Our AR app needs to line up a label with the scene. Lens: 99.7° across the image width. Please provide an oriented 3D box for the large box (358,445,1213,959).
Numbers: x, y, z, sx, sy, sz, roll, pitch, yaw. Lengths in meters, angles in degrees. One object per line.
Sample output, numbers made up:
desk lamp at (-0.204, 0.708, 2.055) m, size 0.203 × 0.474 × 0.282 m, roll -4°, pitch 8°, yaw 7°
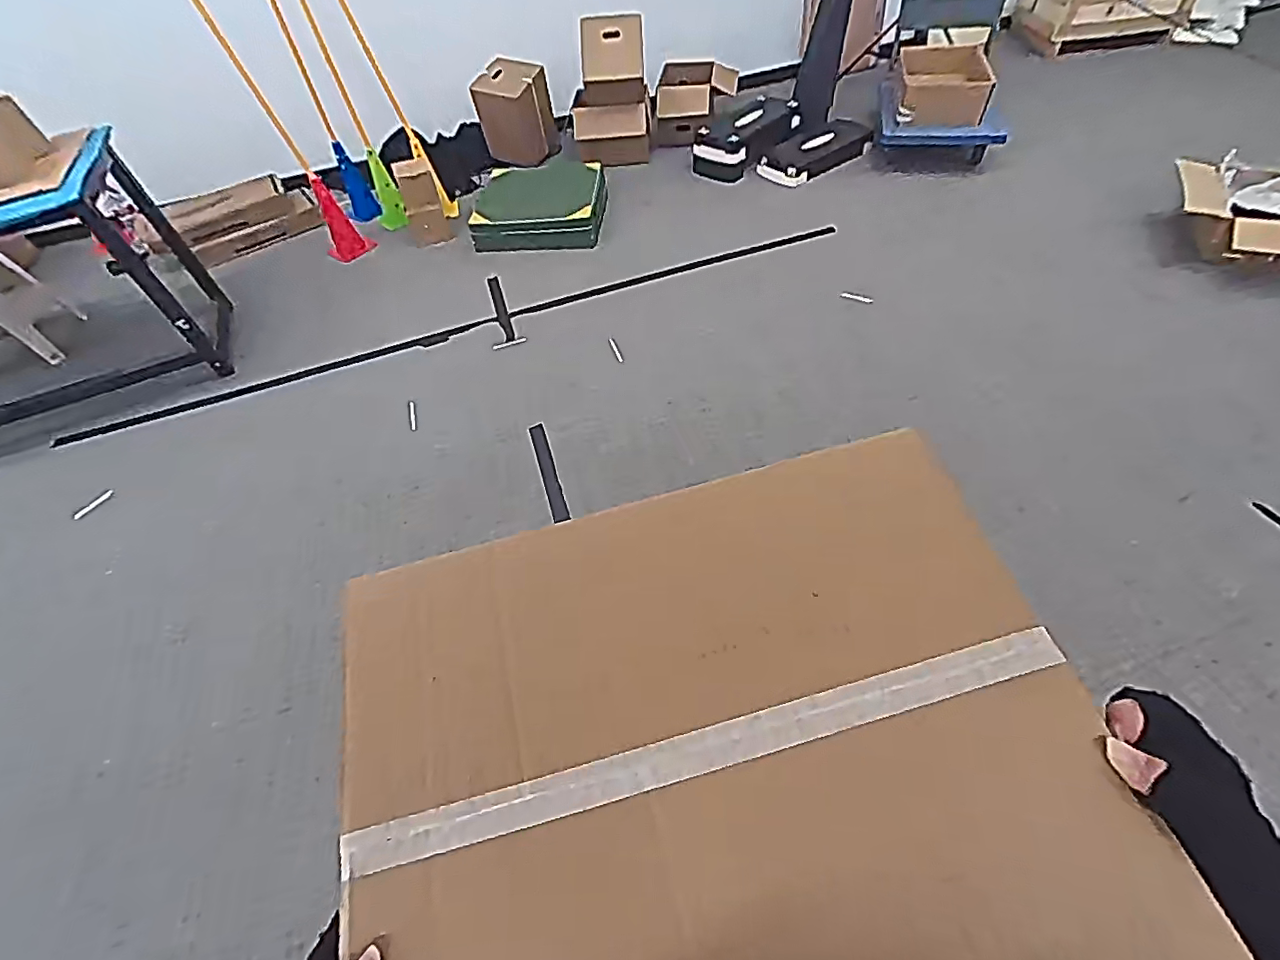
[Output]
large box at (0.052, 0.225, 0.438) m, size 0.408 × 0.320 × 0.320 m, roll -16°, pitch 60°, yaw -2°
